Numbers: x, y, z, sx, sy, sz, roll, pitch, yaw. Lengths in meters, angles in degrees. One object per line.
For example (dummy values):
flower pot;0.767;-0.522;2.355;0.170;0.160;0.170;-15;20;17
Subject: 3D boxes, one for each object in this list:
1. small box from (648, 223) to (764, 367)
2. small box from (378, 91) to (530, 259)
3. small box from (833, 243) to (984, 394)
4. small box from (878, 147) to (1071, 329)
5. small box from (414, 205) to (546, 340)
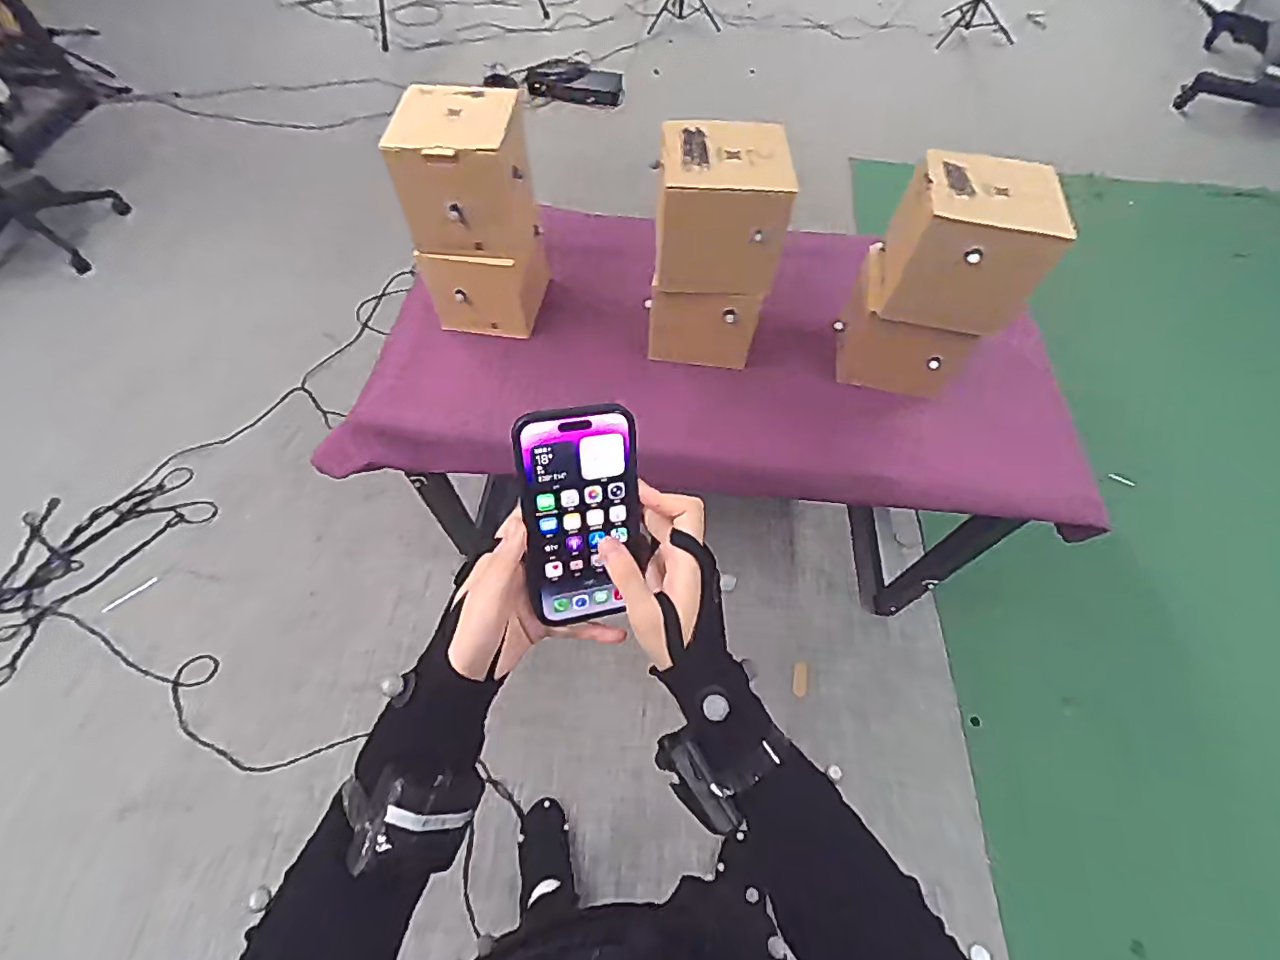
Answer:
small box;0.111;-0.317;0.944;0.179;0.176;0.168;6;59;3
small box;-0.272;-0.467;0.840;0.168;0.176;0.179;3;59;0
small box;0.447;-0.268;0.920;0.179;0.176;0.168;11;59;6
small box;0.456;-0.339;0.772;0.179;0.176;0.168;11;59;5
small box;-0.274;-0.375;0.976;0.168;0.176;0.179;7;59;3
